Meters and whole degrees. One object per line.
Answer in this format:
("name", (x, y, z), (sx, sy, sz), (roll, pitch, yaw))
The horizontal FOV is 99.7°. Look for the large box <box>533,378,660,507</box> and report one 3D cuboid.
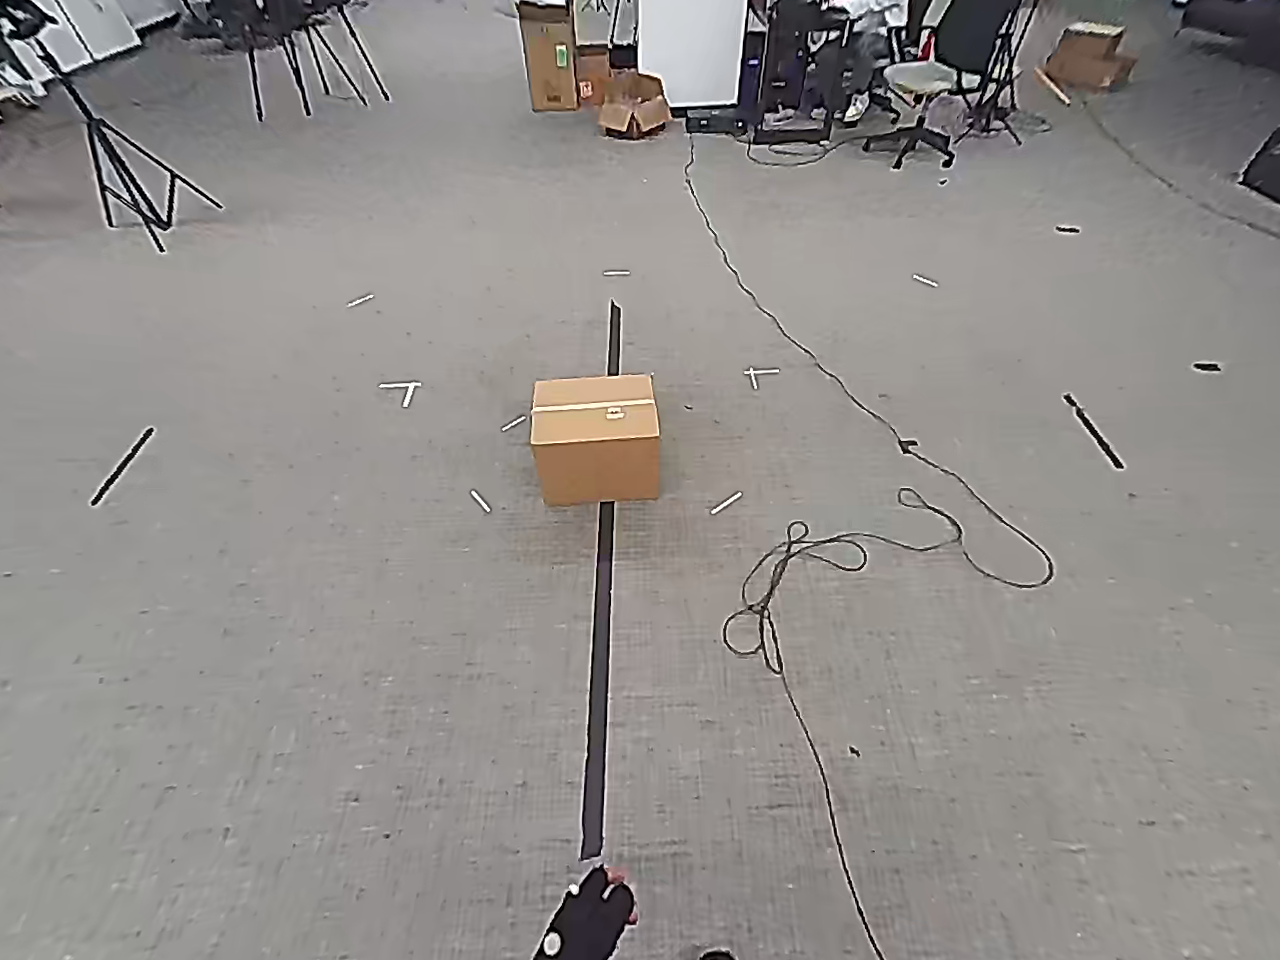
("large box", (-0.149, -0.129, 1.888), (0.408, 0.320, 0.320), (-4, 49, -3))
